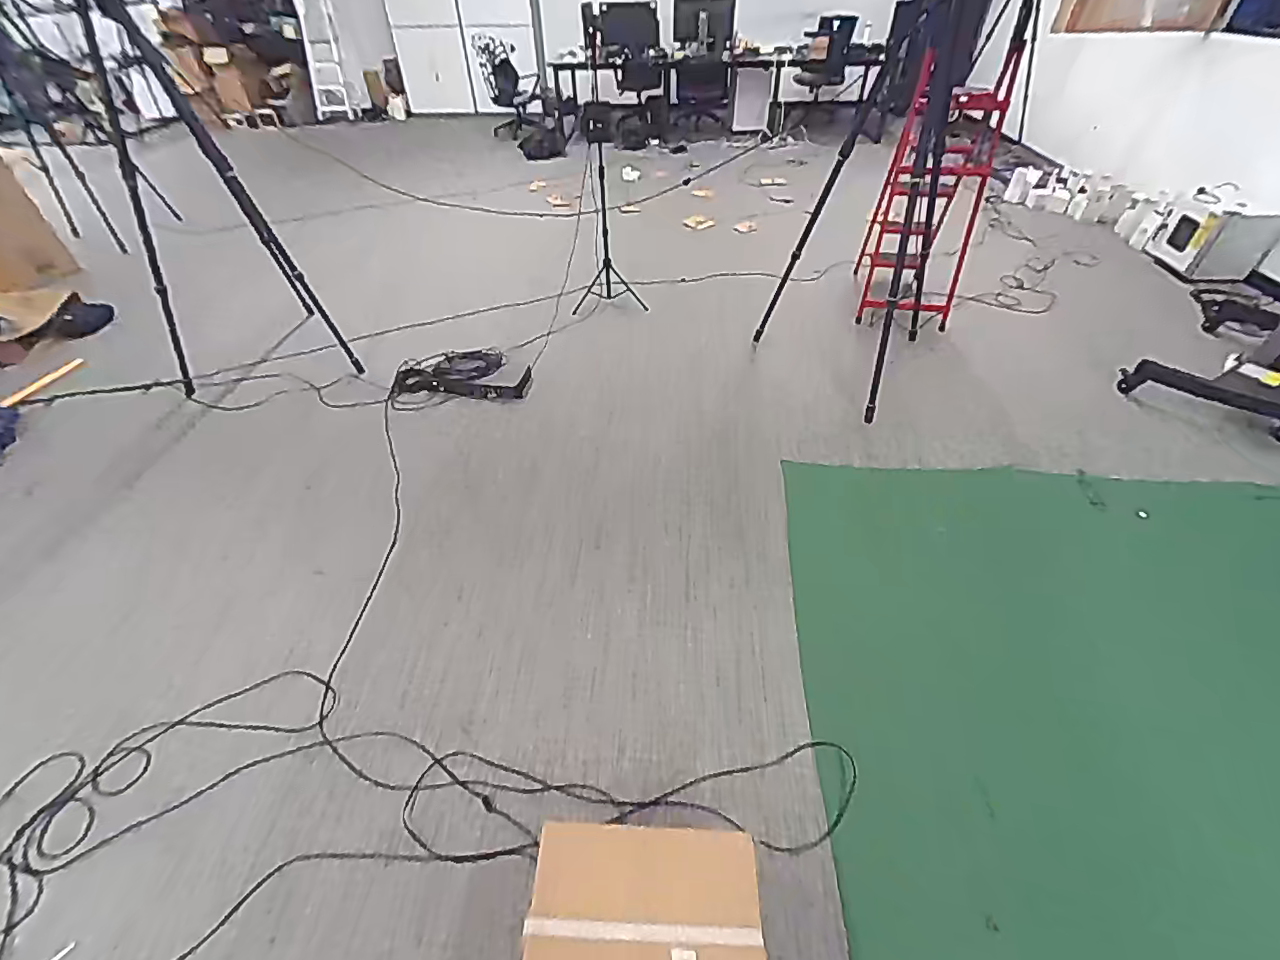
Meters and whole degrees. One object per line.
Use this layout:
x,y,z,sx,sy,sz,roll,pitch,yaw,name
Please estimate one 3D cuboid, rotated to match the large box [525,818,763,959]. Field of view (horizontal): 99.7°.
0.004,0.870,1.029,0.408,0.320,0.320,3,45,1,large box
